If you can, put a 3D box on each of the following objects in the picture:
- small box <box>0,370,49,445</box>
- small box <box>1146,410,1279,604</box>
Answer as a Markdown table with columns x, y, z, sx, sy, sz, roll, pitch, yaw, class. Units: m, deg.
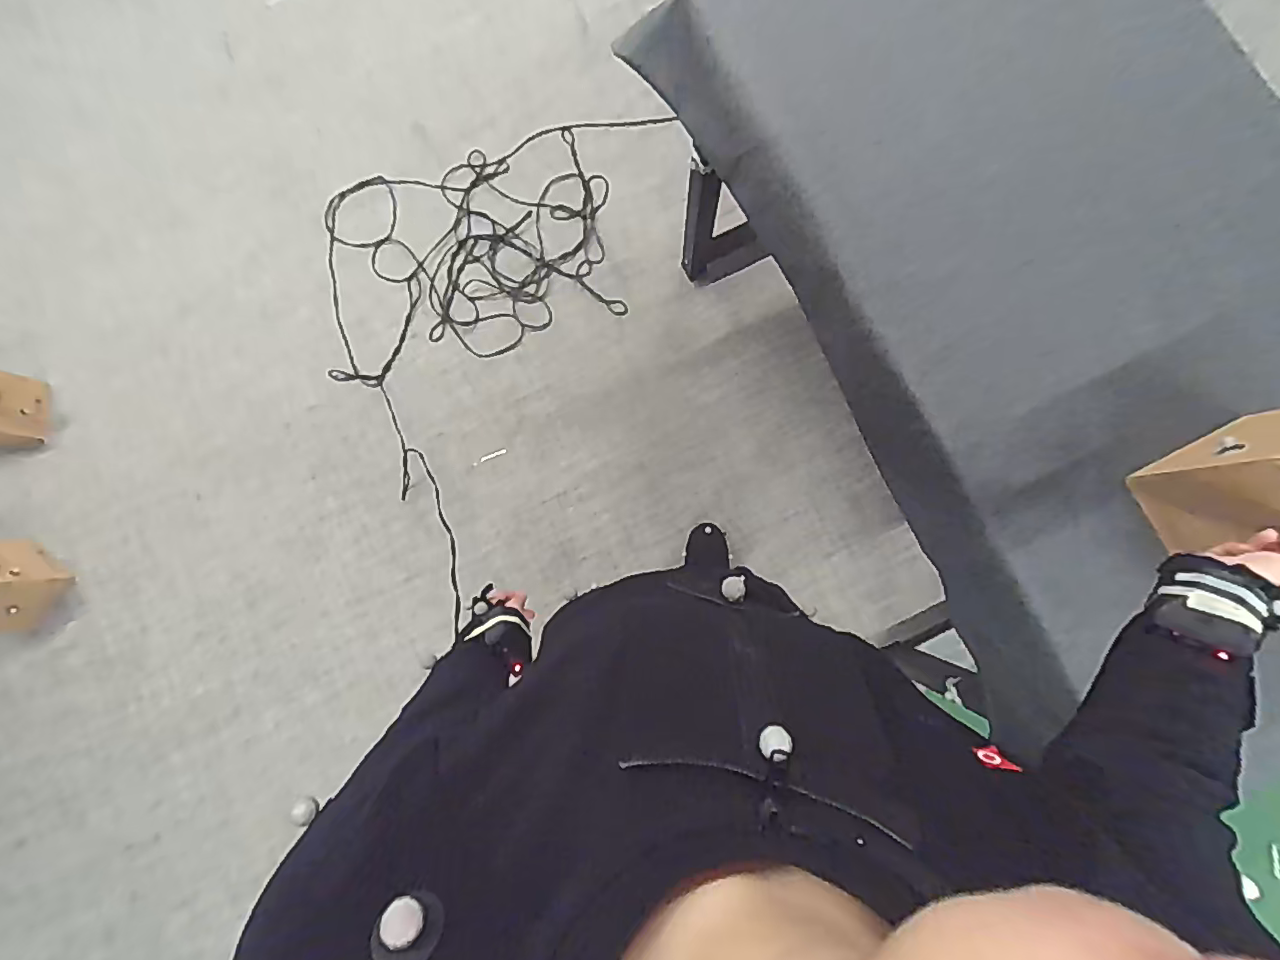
| x | y | z | sx | sy | sz | roll | pitch | yaw | class |
| --- | --- | --- | --- | --- | --- | --- | --- | --- | --- |
| -1.694 | -0.186 | 1.384 | 0.179 | 0.176 | 0.168 | -6 | 83 | 1 | small box |
| 0.692 | 0.023 | 0.560 | 0.179 | 0.176 | 0.168 | -27 | 84 | -3 | small box |
